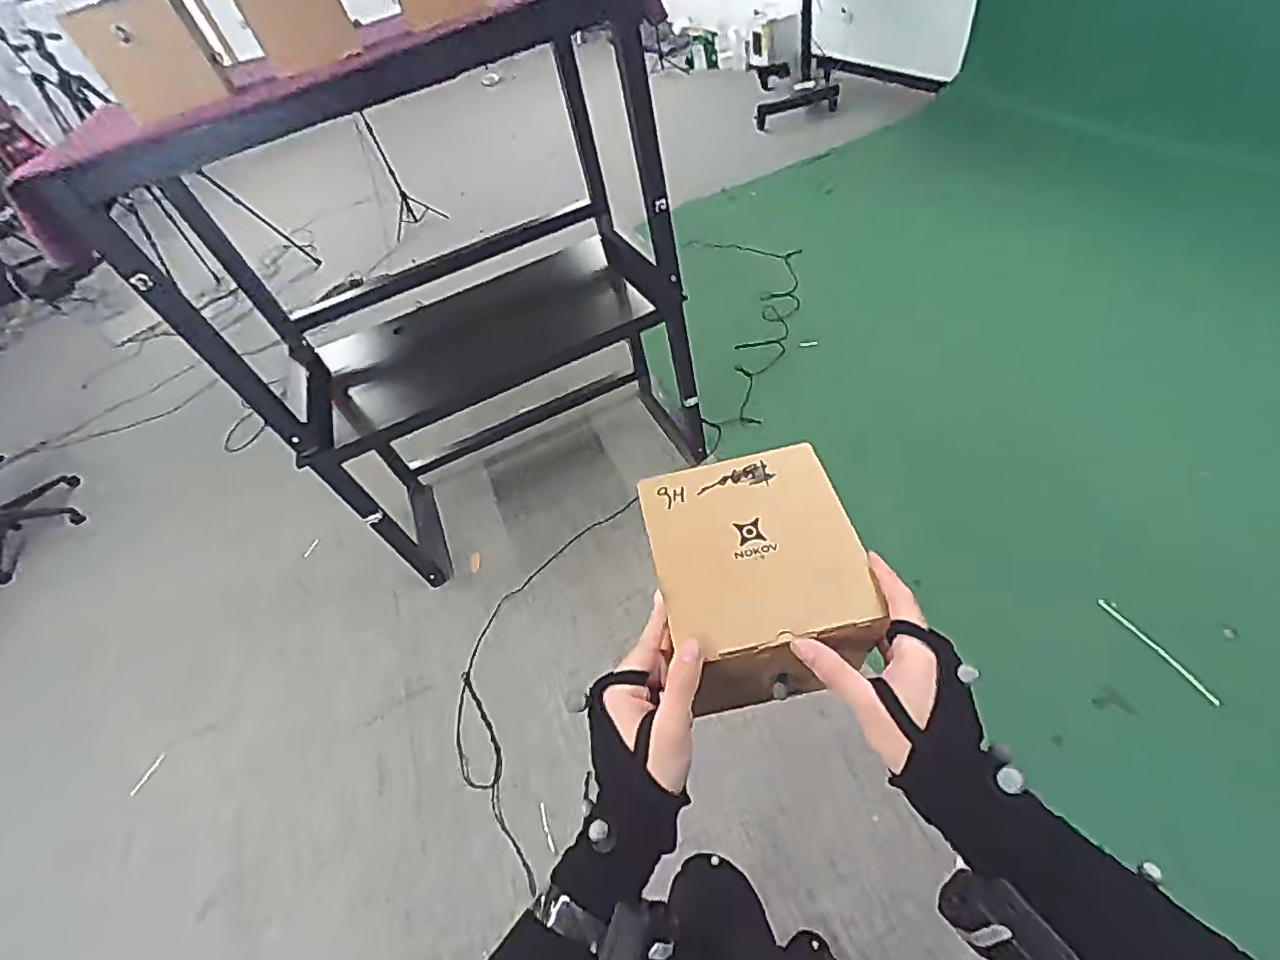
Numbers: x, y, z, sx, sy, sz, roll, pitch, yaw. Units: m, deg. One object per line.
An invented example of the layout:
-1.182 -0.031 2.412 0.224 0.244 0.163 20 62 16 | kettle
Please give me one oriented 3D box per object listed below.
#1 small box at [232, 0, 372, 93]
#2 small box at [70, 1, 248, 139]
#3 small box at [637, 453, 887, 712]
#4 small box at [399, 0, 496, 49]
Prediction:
-0.655 -0.887 1.057 0.179 0.176 0.168 -25 48 -7 | small box
-0.899 -0.780 1.031 0.179 0.176 0.168 -27 49 -8 | small box
0.102 0.106 0.512 0.168 0.176 0.179 -13 54 0 | small box
-0.407 -1.009 1.091 0.179 0.176 0.168 -26 47 -6 | small box
